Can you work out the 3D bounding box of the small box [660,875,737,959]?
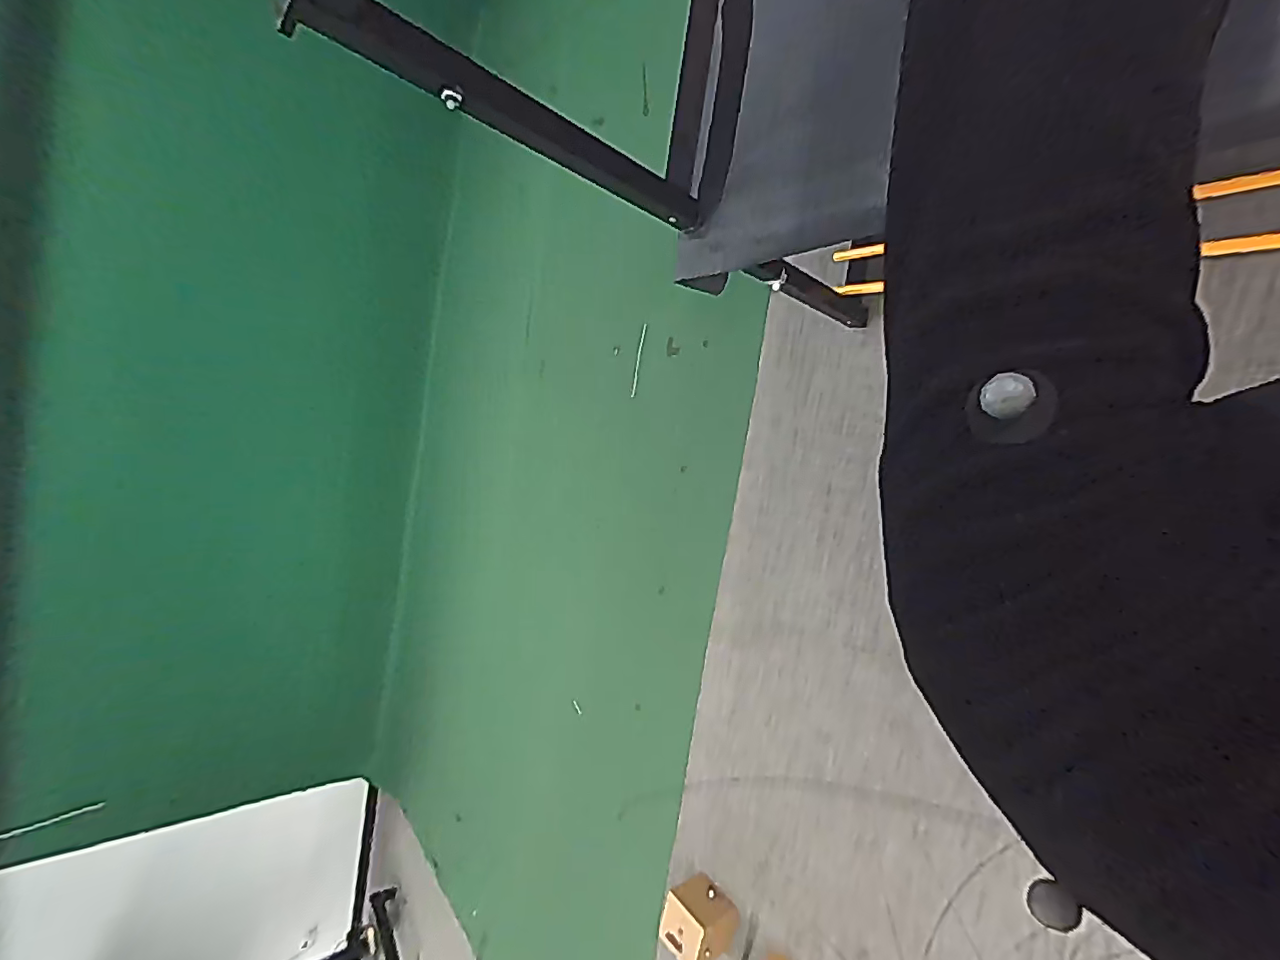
[{"bbox_3d":[0.197,1.470,1.791,0.168,0.176,0.179,19,99,48],"label":"small box"}]
